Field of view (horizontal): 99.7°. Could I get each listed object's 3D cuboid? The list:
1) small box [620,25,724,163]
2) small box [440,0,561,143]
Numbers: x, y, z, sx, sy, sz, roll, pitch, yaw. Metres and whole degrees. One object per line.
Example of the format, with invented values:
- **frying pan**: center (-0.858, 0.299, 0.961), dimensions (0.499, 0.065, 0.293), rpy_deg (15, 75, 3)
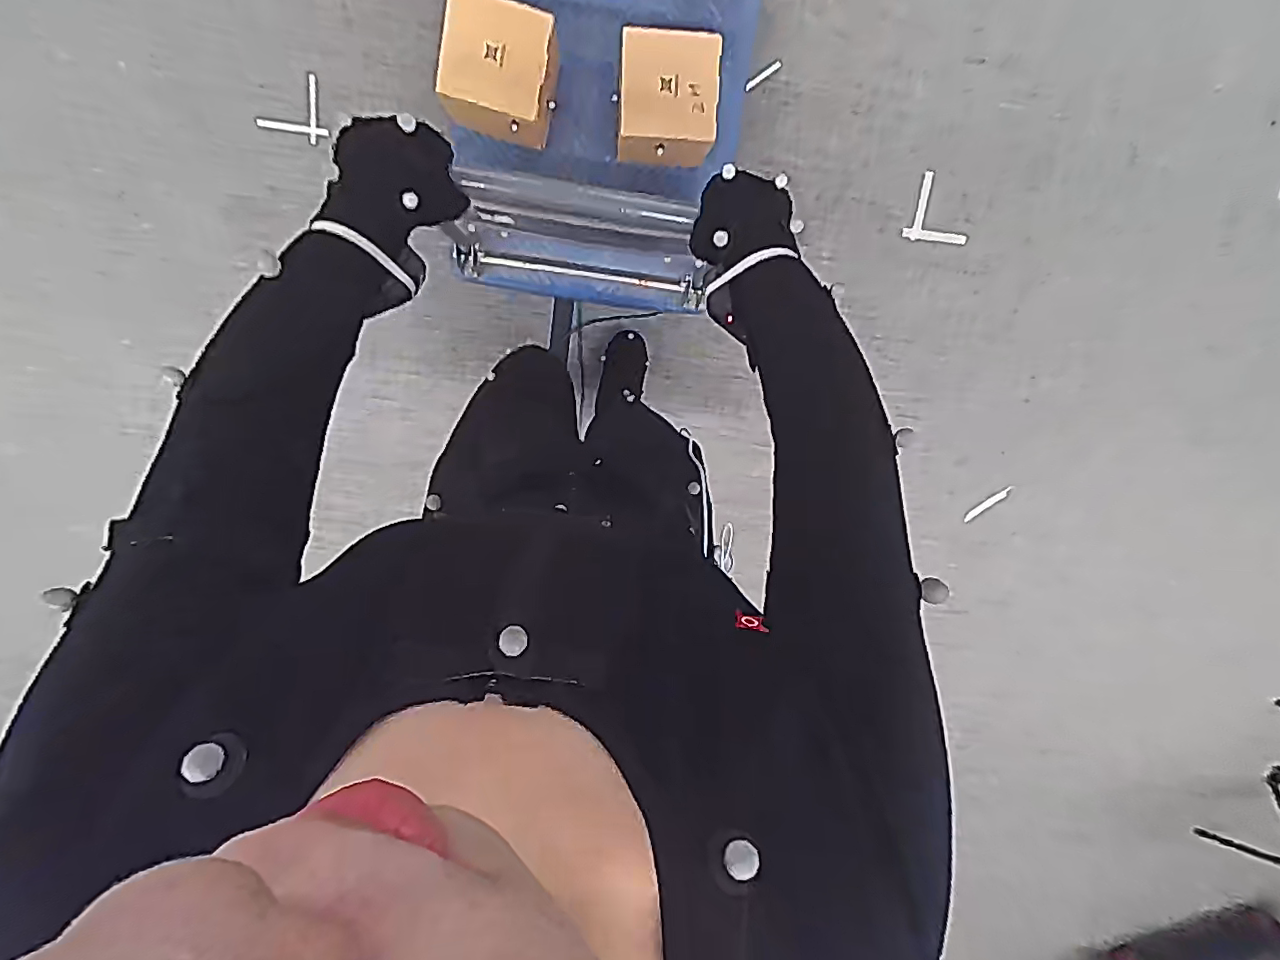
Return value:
- **small box**: center (0.052, -0.722, 1.031), dimensions (0.179, 0.176, 0.168), rpy_deg (1, 106, -5)
- **small box**: center (-0.249, -0.755, 0.998), dimensions (0.179, 0.176, 0.168), rpy_deg (12, 104, -9)
